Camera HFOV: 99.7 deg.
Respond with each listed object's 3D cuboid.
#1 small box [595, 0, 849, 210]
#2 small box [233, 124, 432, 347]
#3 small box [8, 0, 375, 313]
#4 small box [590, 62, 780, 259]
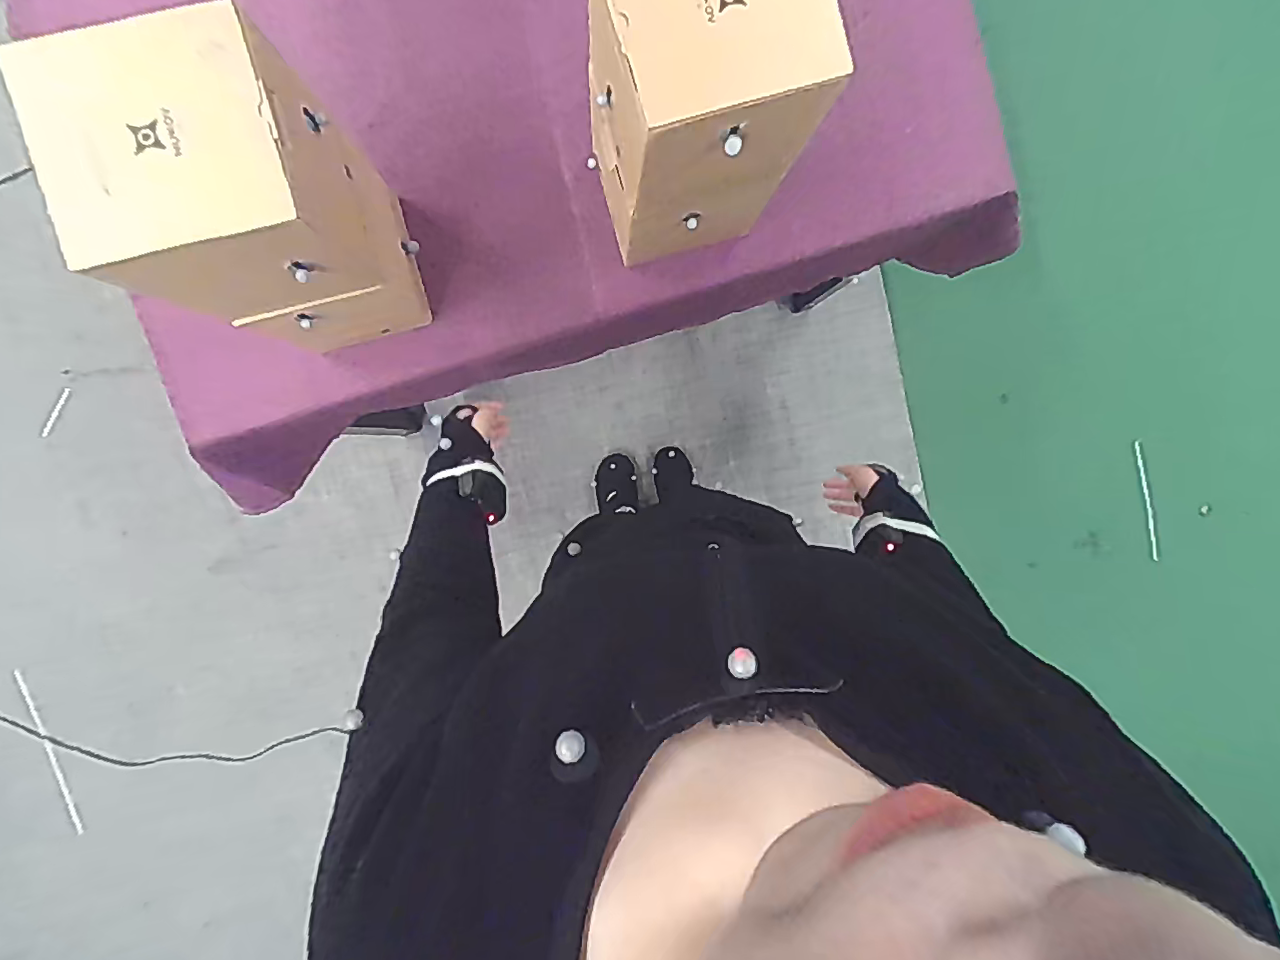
[{"bbox_3d":[0.059,-0.381,0.500,0.179,0.176,0.168,-17,95,-1],"label":"small box"},{"bbox_3d":[-0.373,-0.275,0.647,0.168,0.176,0.179,-15,94,-2],"label":"small box"},{"bbox_3d":[-0.363,-0.263,0.483,0.179,0.176,0.168,-14,94,-2],"label":"small box"},{"bbox_3d":[0.046,-0.392,0.662,0.179,0.176,0.168,-16,95,-3],"label":"small box"}]
